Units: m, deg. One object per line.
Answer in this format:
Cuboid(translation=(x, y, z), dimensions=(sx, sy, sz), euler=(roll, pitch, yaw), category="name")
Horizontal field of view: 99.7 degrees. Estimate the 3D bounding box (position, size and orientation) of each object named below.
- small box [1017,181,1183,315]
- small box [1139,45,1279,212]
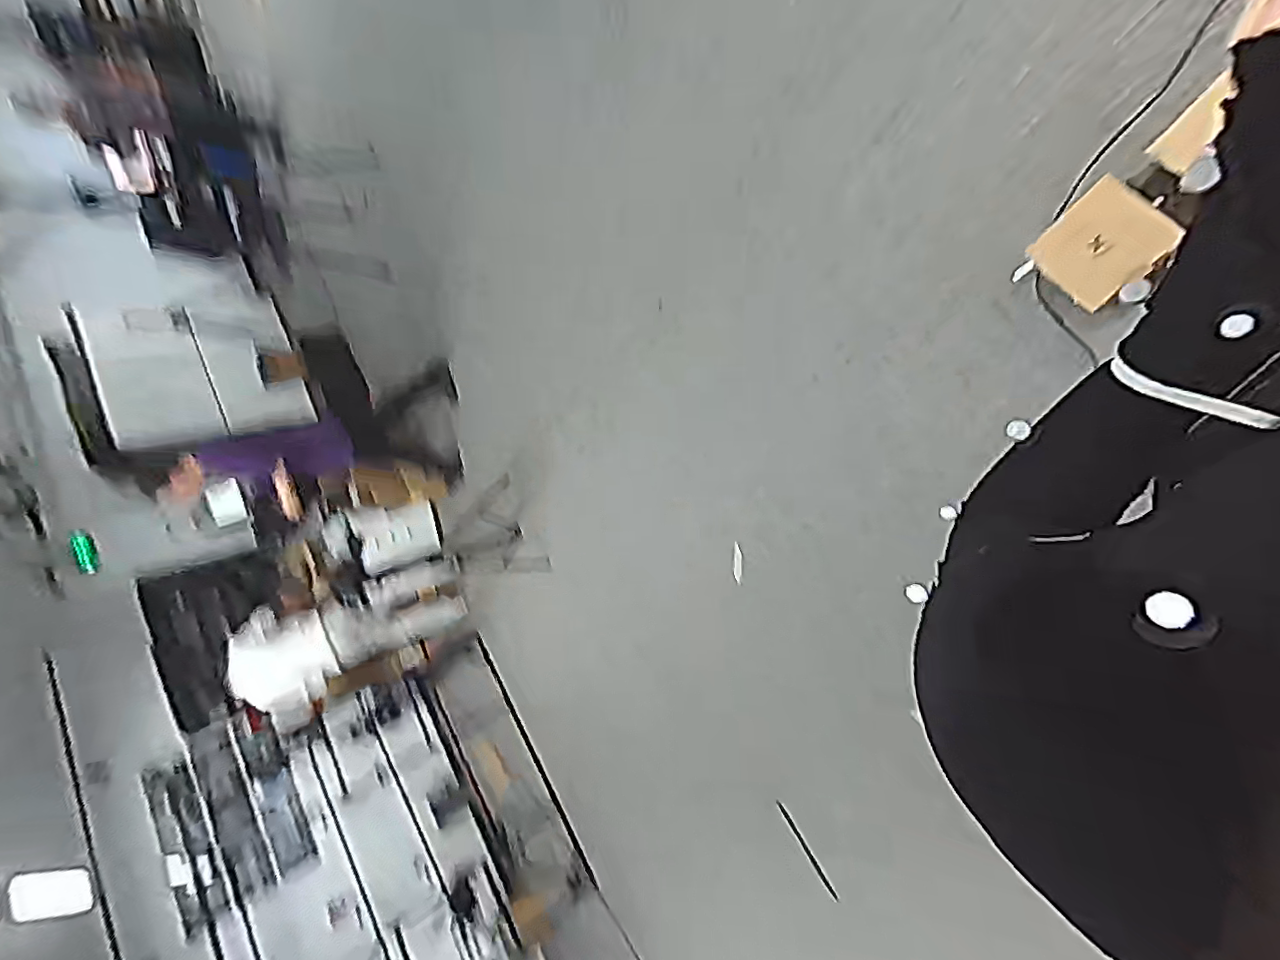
Cuboid(translation=(0.888, -0.445, 1.043), dimensions=(0.179, 0.176, 0.168), euler=(56, 138, 19), category="small box")
Cuboid(translation=(0.984, -0.560, 0.886), dimensions=(0.179, 0.176, 0.168), euler=(52, 137, 21), category="small box")
